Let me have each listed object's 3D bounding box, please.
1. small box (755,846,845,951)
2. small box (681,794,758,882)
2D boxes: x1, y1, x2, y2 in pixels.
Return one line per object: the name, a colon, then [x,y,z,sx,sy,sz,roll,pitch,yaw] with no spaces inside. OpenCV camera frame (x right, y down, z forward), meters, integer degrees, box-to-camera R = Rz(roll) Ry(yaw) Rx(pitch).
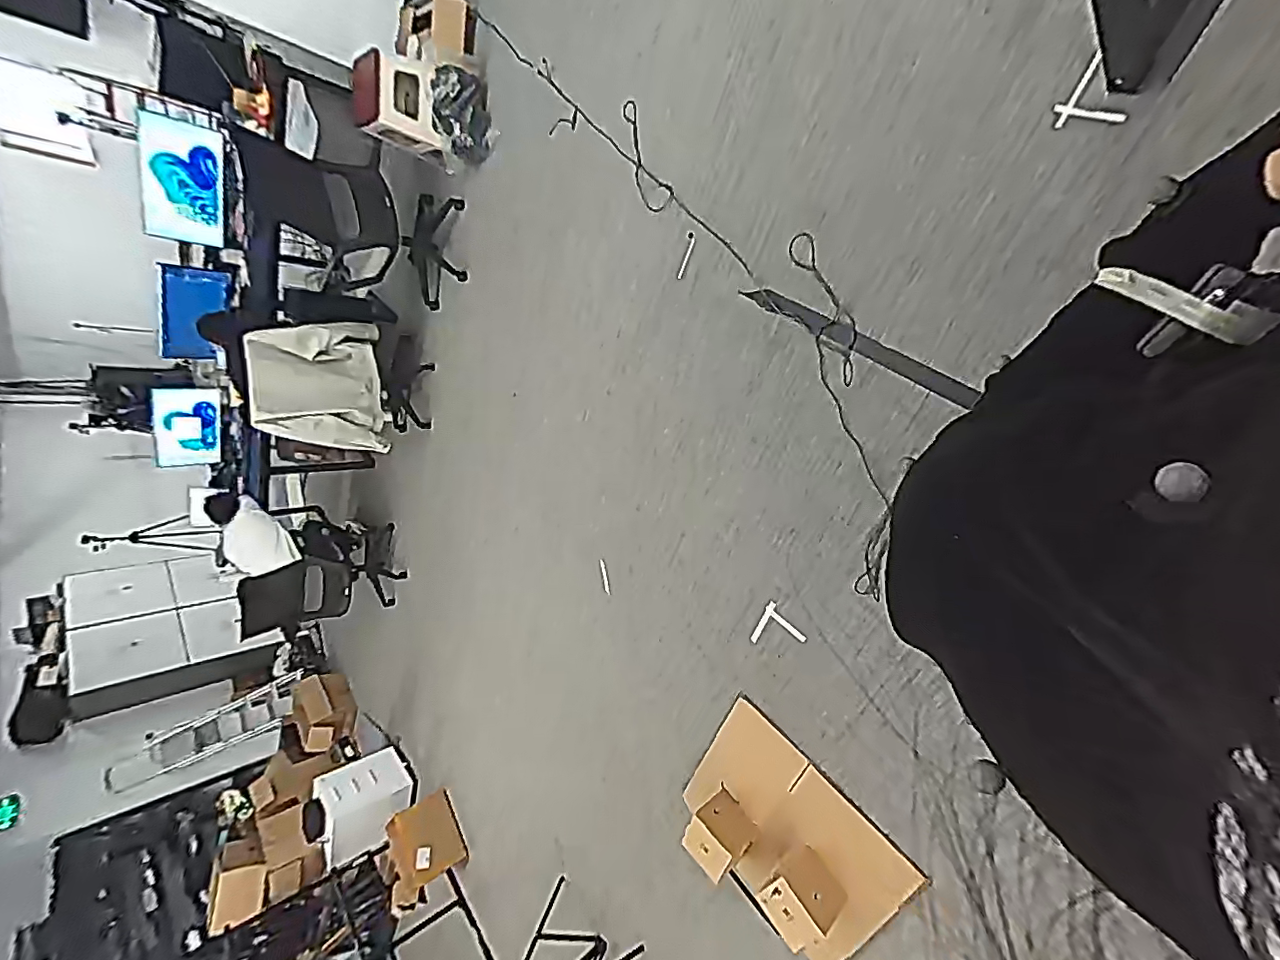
small box: [0.504,1.303,1.692,0.179,0.176,0.168,48,125,28]
small box: [0.281,1.250,1.909,0.179,0.176,0.168,35,120,36]
